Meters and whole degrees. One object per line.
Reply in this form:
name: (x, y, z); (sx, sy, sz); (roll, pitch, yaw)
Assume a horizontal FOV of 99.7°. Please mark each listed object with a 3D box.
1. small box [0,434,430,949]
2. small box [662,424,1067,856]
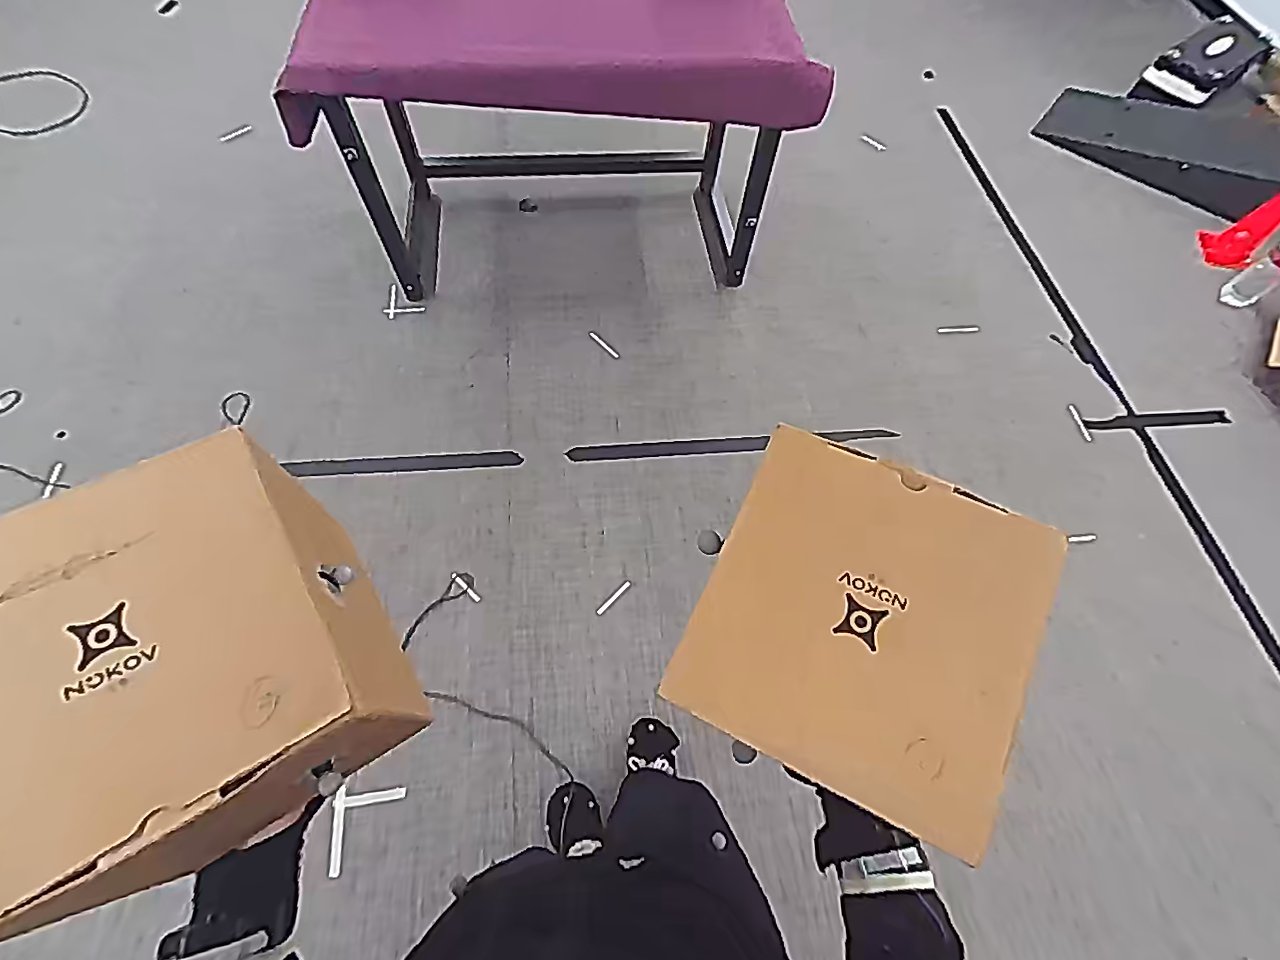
small box: (-0.248, 0.110, 0.320); (0.168, 0.176, 0.179); (-29, 71, -21)
small box: (0.130, 0.097, 0.364); (0.168, 0.176, 0.179); (24, 74, 14)
